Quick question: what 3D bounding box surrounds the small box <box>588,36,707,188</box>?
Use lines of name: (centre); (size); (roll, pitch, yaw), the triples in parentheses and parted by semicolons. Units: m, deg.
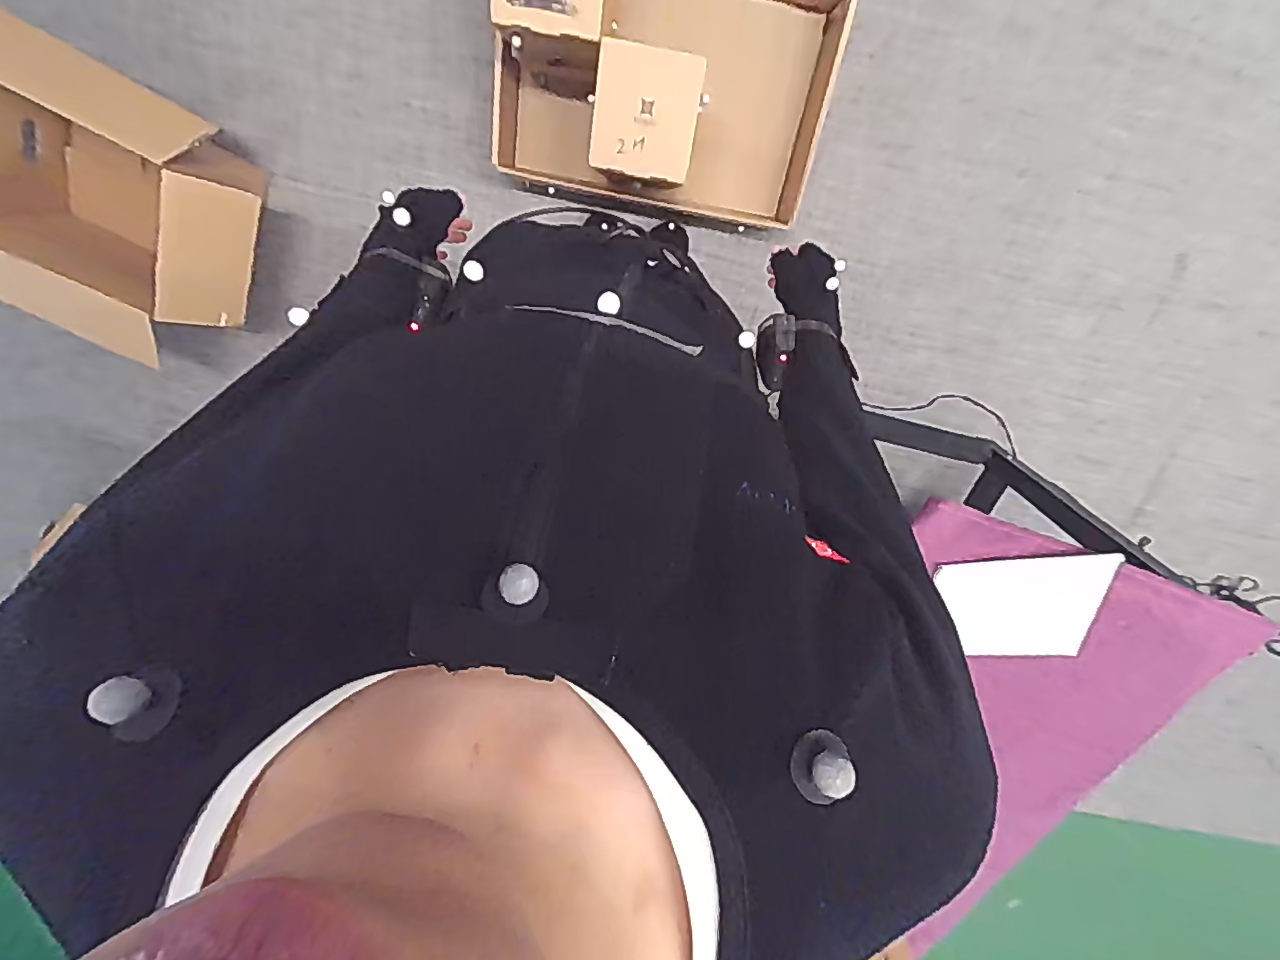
small box: (0.008, -0.612, 0.922); (0.168, 0.176, 0.179); (9, 117, -4)
